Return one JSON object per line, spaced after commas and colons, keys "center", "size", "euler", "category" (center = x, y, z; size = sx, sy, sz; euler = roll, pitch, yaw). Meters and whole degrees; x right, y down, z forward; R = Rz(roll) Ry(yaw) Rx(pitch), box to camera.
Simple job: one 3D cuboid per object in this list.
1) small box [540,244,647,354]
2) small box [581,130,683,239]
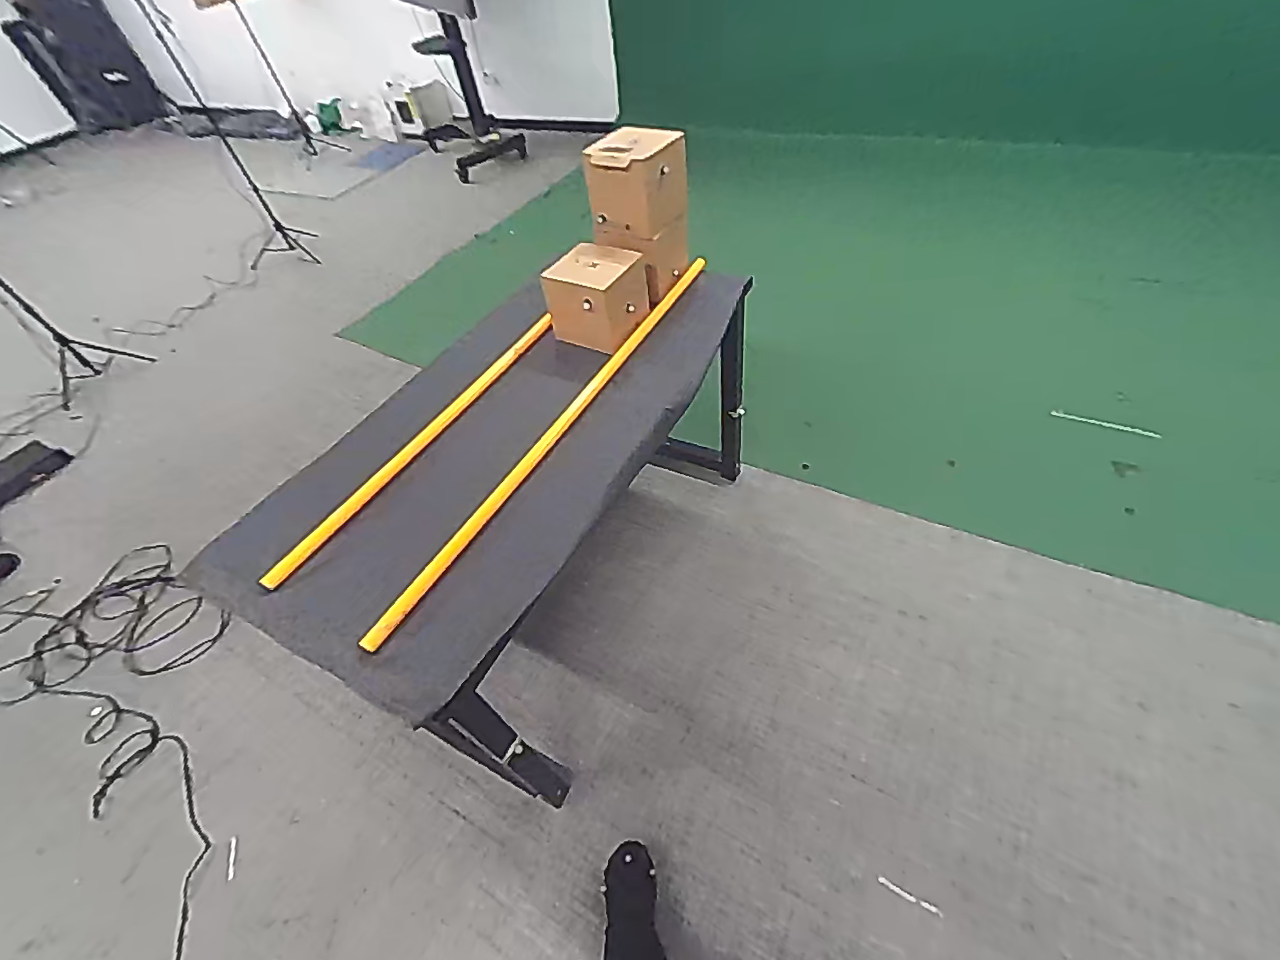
{"center": [-0.097, -0.416, 1.252], "size": [0.179, 0.176, 0.168], "euler": [21, 55, 24], "category": "small box"}
{"center": [-0.007, -0.683, 1.251], "size": [0.168, 0.176, 0.179], "euler": [23, 56, 25], "category": "small box"}
